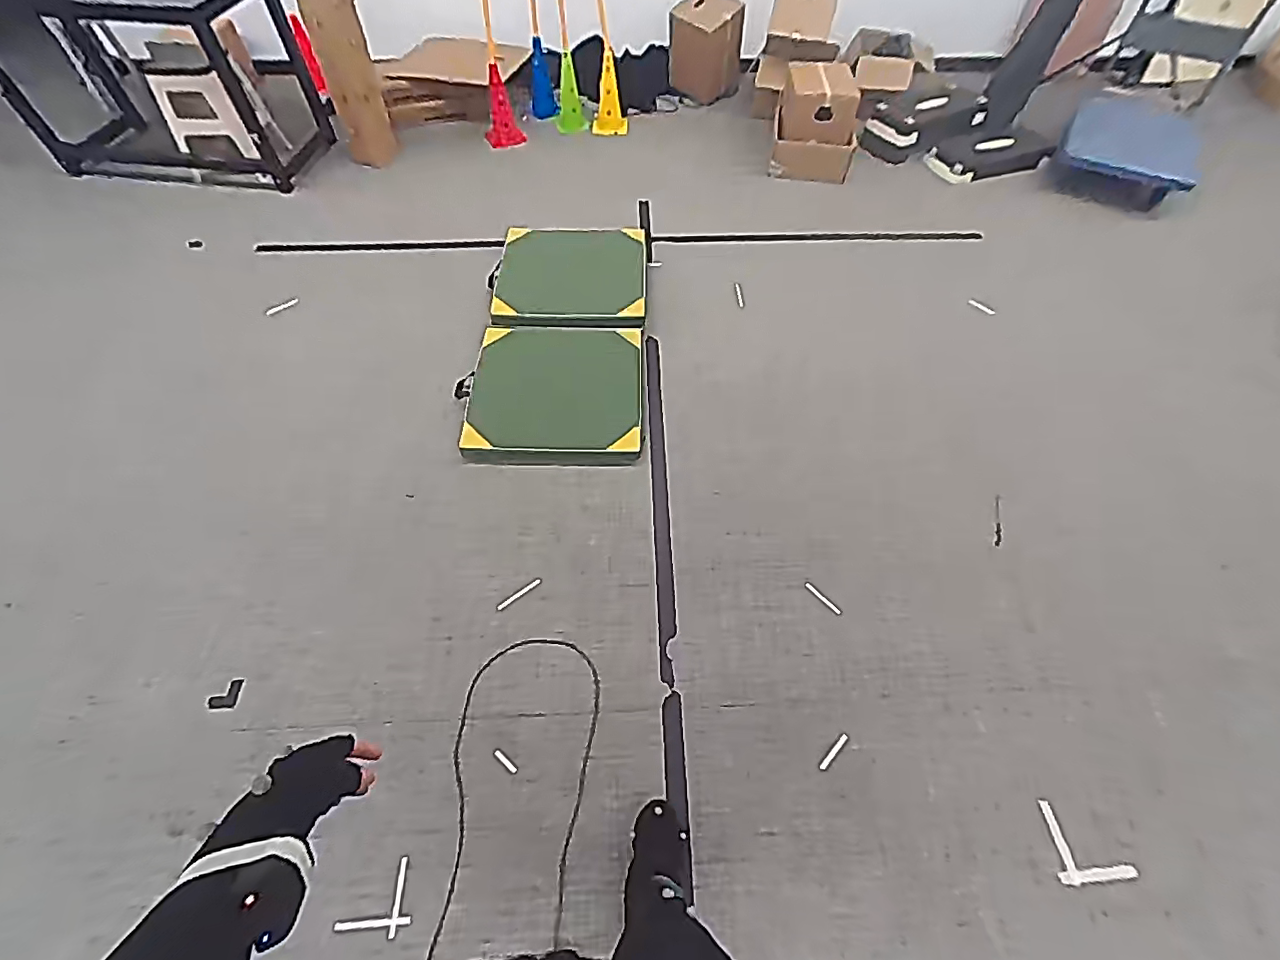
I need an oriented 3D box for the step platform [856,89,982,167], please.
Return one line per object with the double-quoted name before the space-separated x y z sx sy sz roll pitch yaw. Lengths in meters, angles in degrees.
"step platform" 1.563 -1.975 3.022 0.684 0.204 0.286 -26 60 -17
